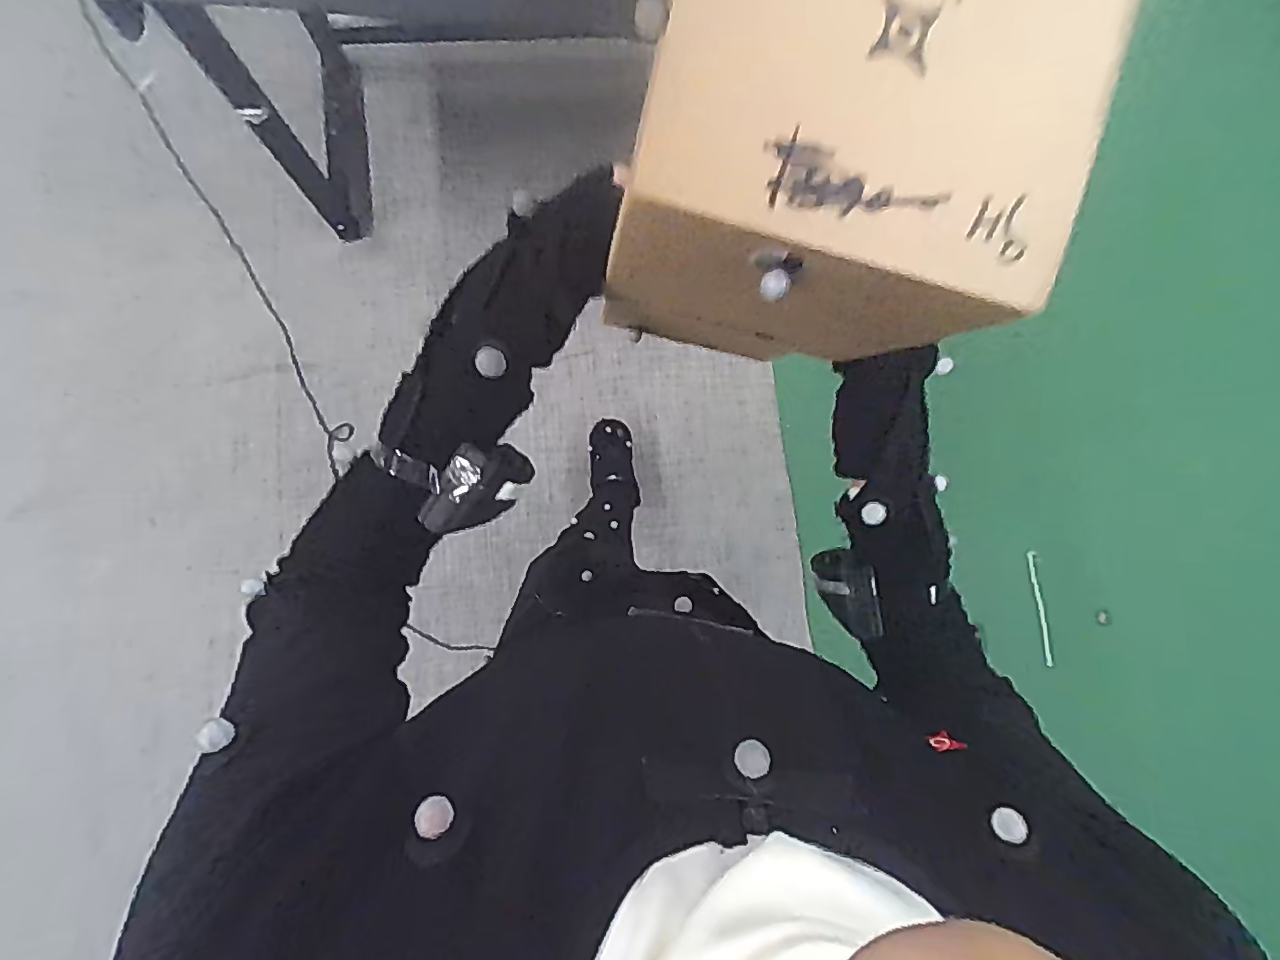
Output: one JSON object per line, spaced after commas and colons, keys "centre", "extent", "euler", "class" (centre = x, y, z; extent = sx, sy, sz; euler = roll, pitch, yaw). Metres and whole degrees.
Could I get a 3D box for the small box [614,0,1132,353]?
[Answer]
{"centre": [0.085, -0.176, 0.269], "extent": [0.168, 0.176, 0.179], "euler": [13, 95, -7], "class": "small box"}
